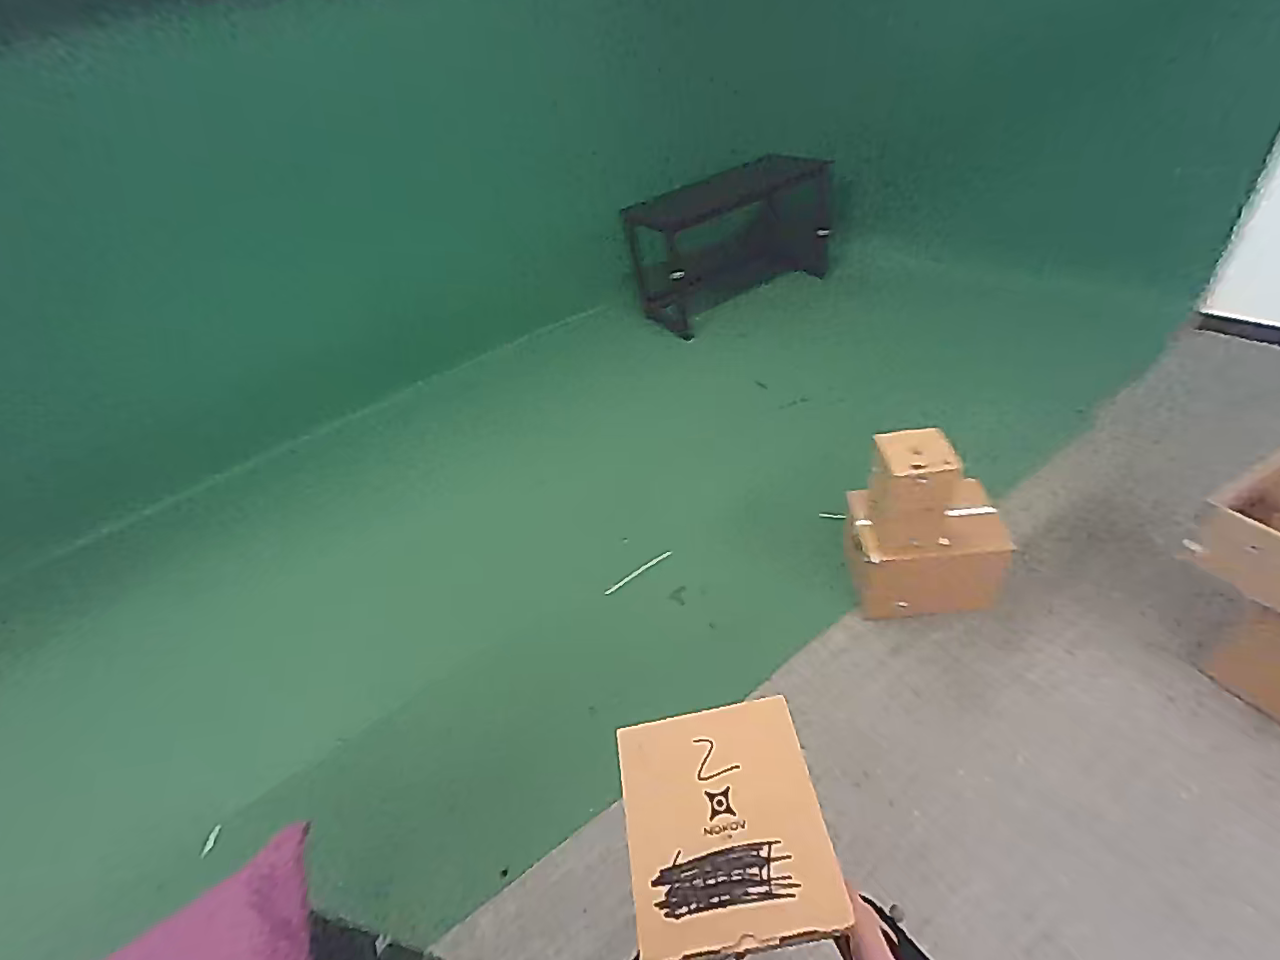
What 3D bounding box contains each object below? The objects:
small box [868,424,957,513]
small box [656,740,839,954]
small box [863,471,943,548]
[{"bbox_3d":[0.746,-0.031,1.502,0.168,0.176,0.179,-7,42,8],"label":"small box"},{"bbox_3d":[0.122,0.436,0.642,0.168,0.176,0.179,-12,47,3],"label":"small box"},{"bbox_3d":[0.777,0.082,1.618,0.168,0.176,0.179,-7,43,9],"label":"small box"}]
